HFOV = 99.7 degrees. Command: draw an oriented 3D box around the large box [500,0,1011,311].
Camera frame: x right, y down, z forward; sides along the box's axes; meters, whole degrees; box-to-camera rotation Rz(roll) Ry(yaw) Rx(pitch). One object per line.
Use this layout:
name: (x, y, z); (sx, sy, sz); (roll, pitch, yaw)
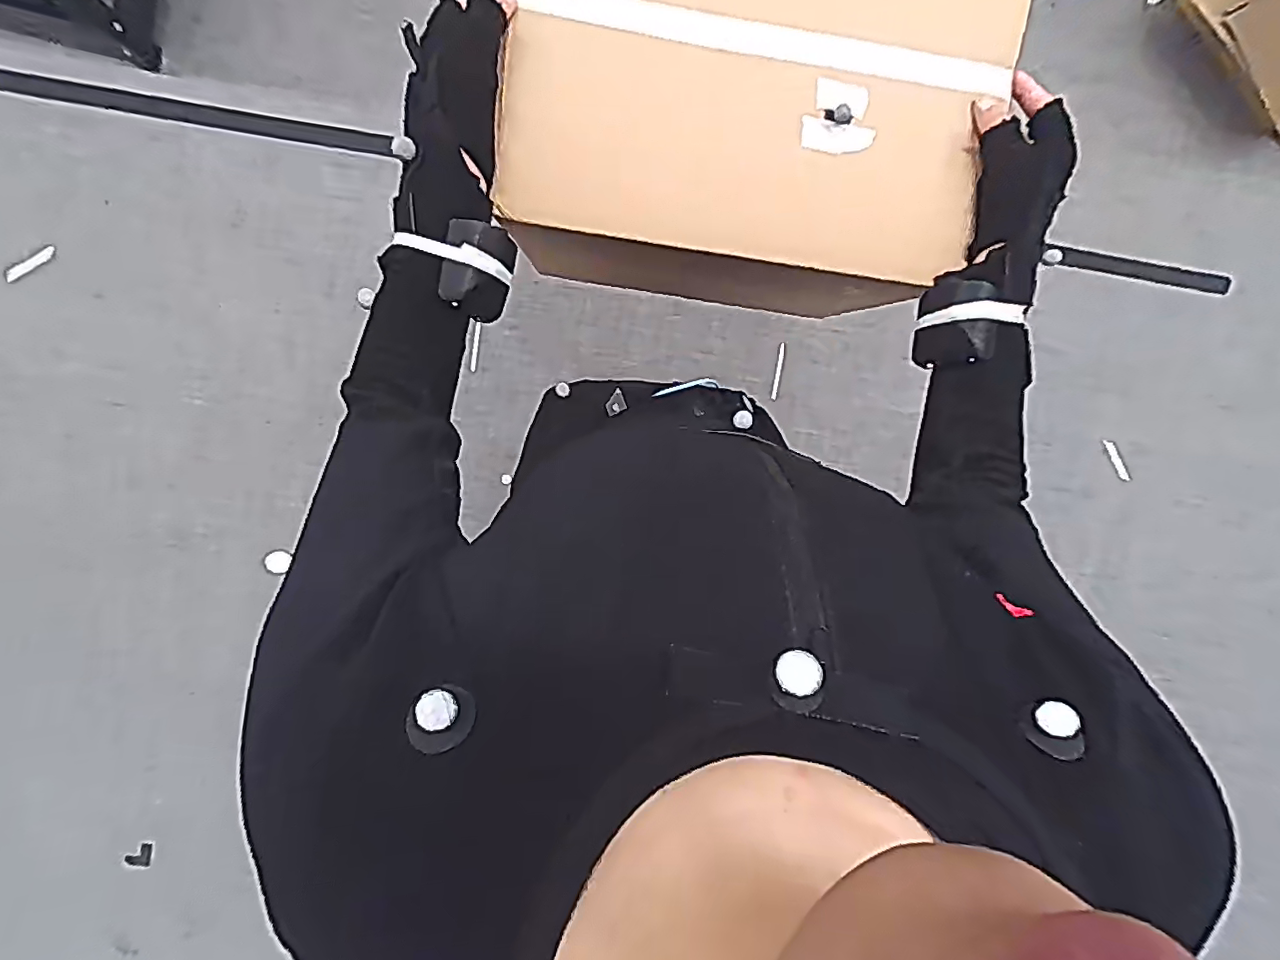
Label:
large box: (0.085, -0.378, 0.582); (0.408, 0.320, 0.320); (7, 103, -5)
